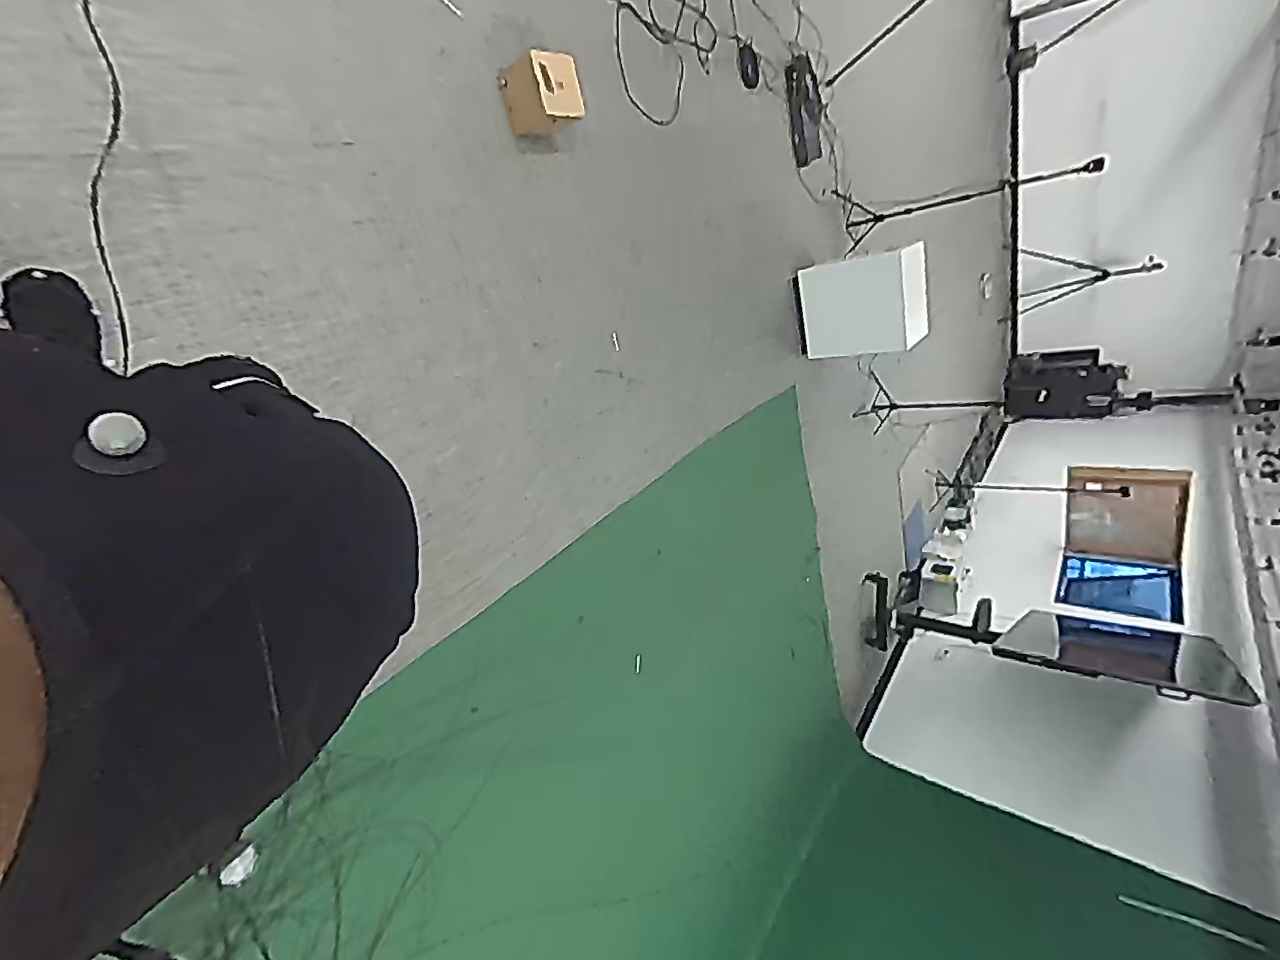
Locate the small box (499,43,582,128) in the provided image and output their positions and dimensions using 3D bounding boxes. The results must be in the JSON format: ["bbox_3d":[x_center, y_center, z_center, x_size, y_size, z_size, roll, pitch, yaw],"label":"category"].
[{"bbox_3d":[-0.316,-1.212,1.676,0.179,0.176,0.168,-34,118,-42],"label":"small box"}]
